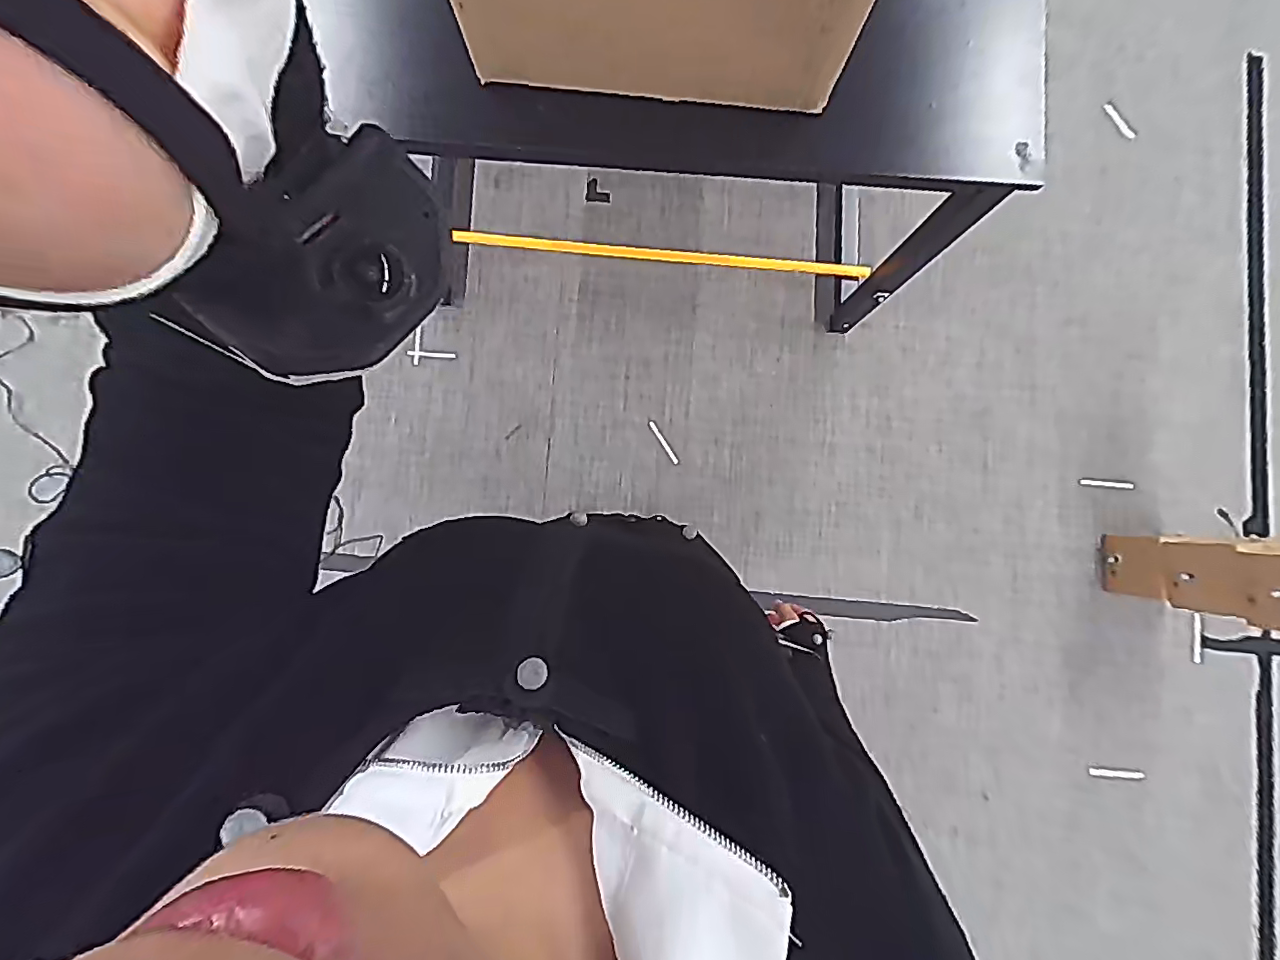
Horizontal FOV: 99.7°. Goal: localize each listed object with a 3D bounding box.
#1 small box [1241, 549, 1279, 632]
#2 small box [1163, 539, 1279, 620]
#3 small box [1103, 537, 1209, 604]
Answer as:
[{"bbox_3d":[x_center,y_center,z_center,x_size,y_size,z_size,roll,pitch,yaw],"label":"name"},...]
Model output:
[{"bbox_3d":[1.410,0.229,1.115,0.179,0.176,0.168,-6,85,-2],"label":"small box"},{"bbox_3d":[1.410,0.229,1.279,0.179,0.176,0.168,-4,85,-2],"label":"small box"},{"bbox_3d":[1.394,0.237,1.444,0.179,0.176,0.168,1,85,0],"label":"small box"}]
